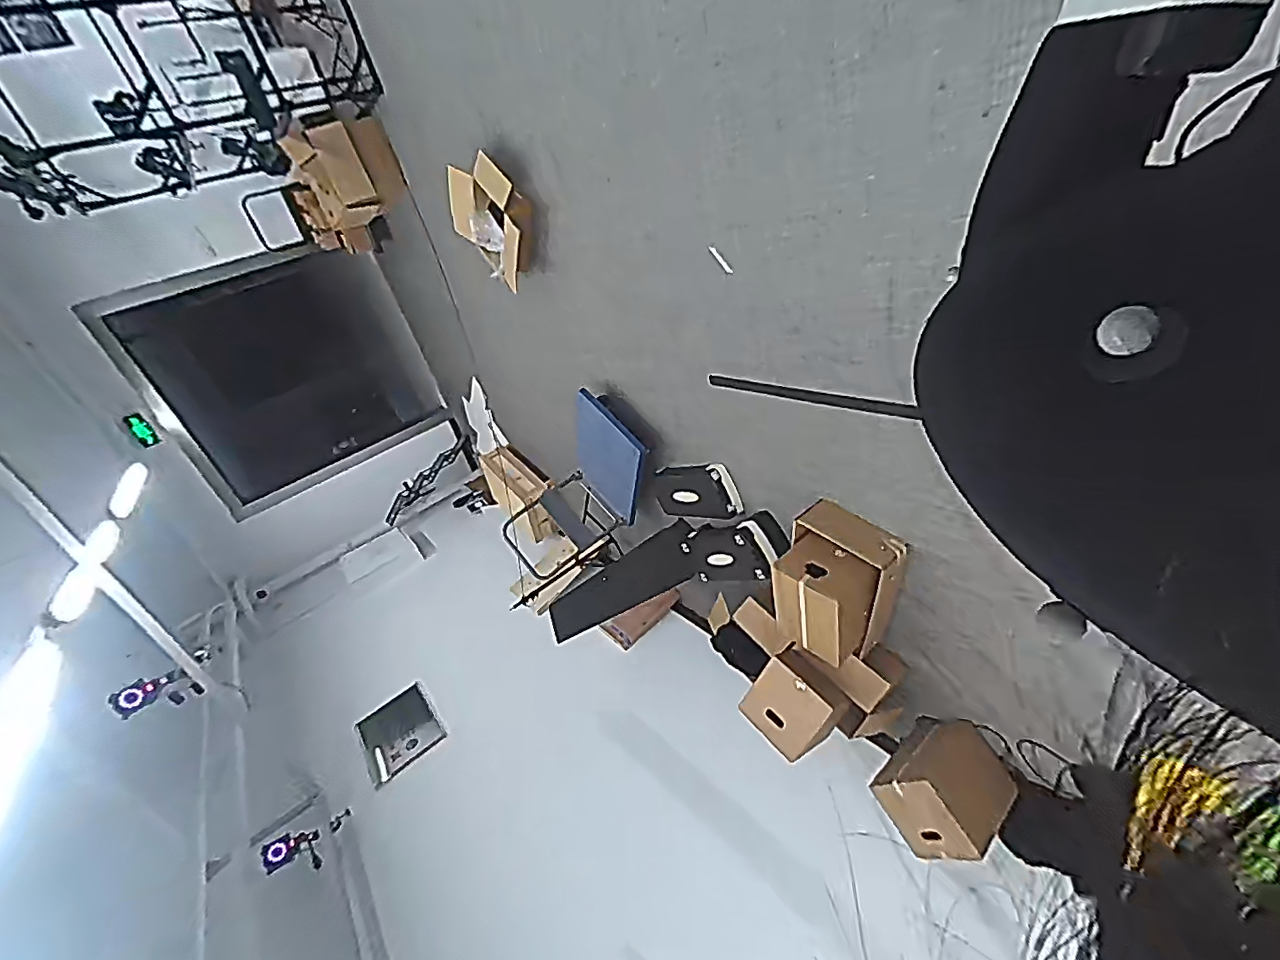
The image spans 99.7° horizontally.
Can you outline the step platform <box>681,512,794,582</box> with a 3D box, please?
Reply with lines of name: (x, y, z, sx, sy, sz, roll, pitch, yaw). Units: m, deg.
step platform: (0.484, 0.371, 2.859, 0.286, 0.204, 0.684, 58, 153, -3)
